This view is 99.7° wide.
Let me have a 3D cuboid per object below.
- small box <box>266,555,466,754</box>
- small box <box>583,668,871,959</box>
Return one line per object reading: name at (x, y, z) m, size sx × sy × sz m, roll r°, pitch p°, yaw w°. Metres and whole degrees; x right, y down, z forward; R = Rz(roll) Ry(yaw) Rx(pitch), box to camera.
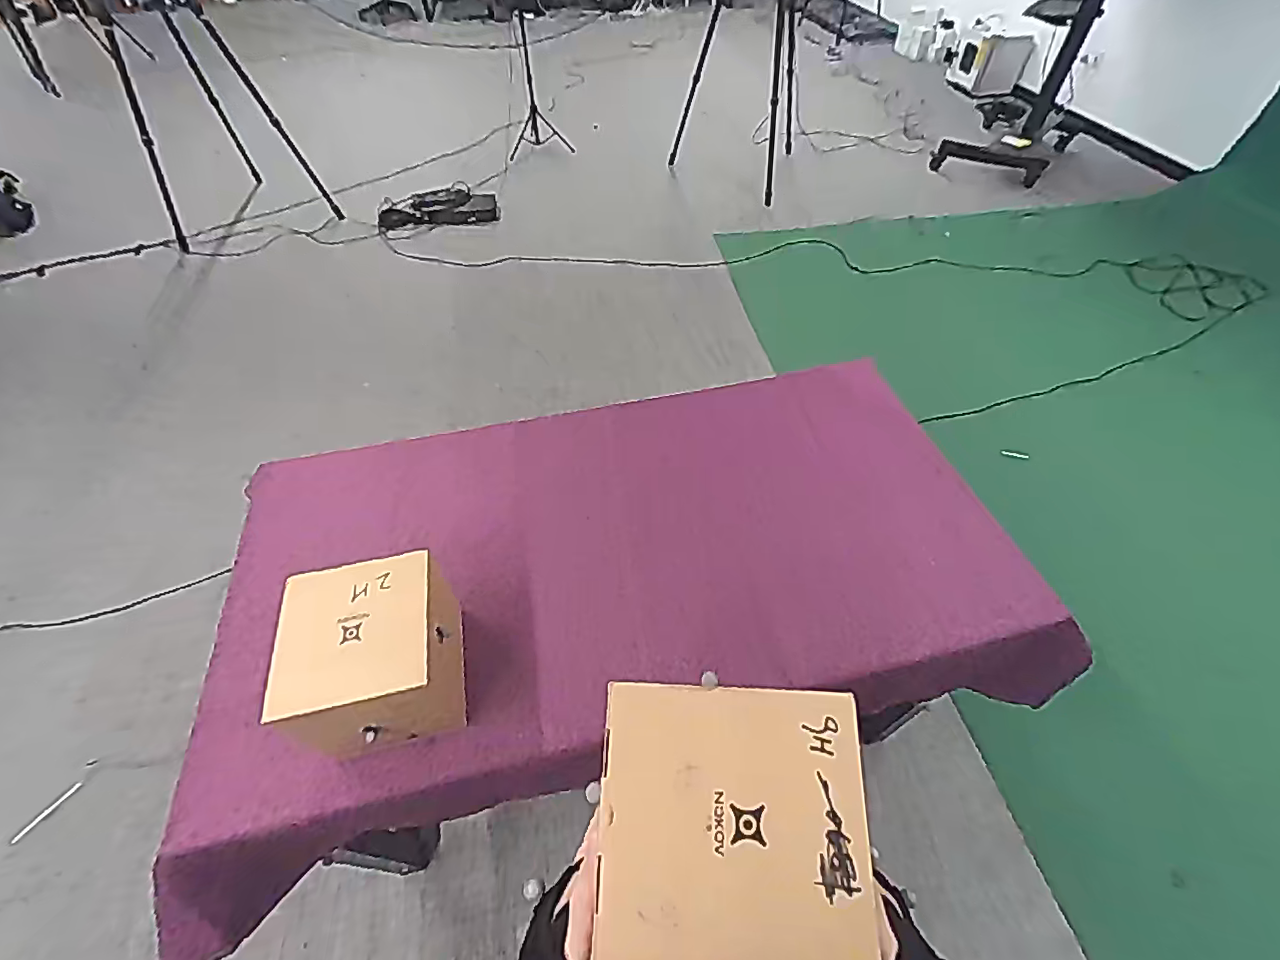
small box at (-0.320, 0.222, 0.673) m, size 0.168 × 0.176 × 0.179 m, roll -11°, pitch 51°, yaw -9°
small box at (0.058, 0.247, 0.428) m, size 0.179 × 0.176 × 0.168 m, roll 3°, pitch 67°, yaw 2°
